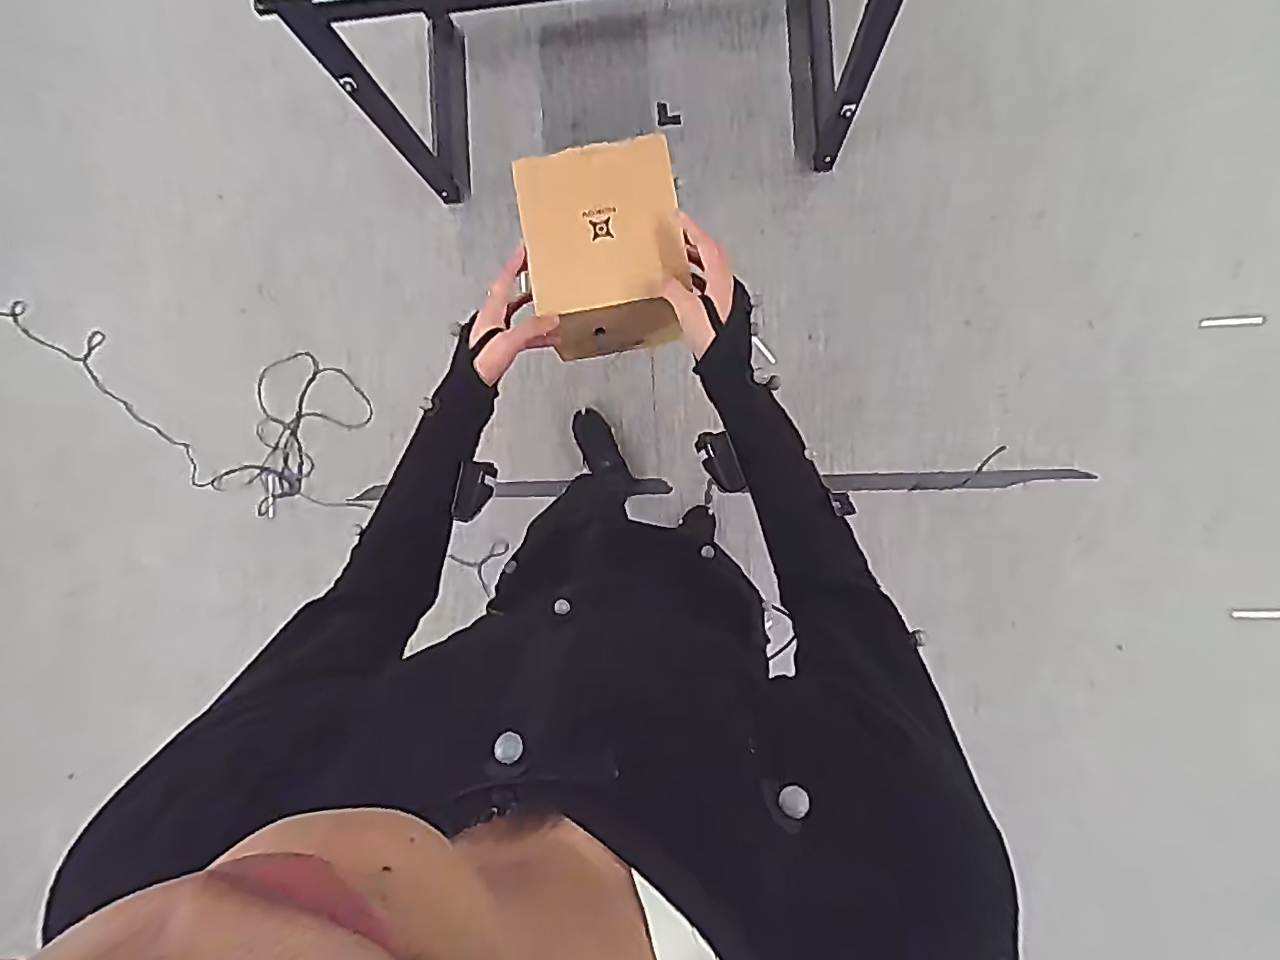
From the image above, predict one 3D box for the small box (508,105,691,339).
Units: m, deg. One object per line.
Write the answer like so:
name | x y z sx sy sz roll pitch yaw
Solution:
small box | -0.038 -0.274 0.618 0.168 0.176 0.179 -10 85 1
